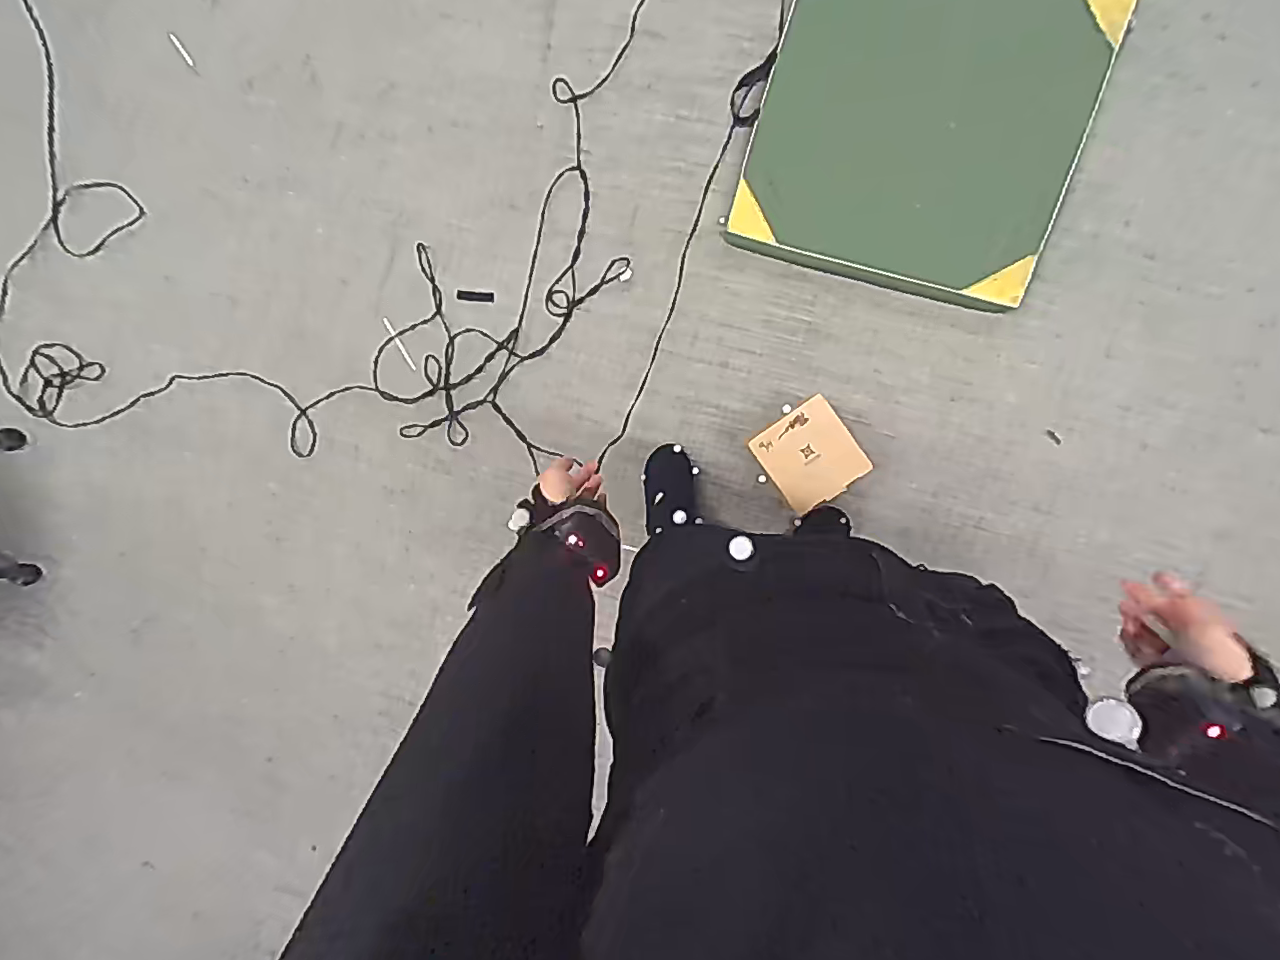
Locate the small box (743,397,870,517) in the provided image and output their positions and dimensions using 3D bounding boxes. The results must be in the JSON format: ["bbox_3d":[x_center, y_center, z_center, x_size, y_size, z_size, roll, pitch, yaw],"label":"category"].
[{"bbox_3d":[0.327,-0.050,1.096,0.168,0.176,0.179,-35,89,8],"label":"small box"}]
